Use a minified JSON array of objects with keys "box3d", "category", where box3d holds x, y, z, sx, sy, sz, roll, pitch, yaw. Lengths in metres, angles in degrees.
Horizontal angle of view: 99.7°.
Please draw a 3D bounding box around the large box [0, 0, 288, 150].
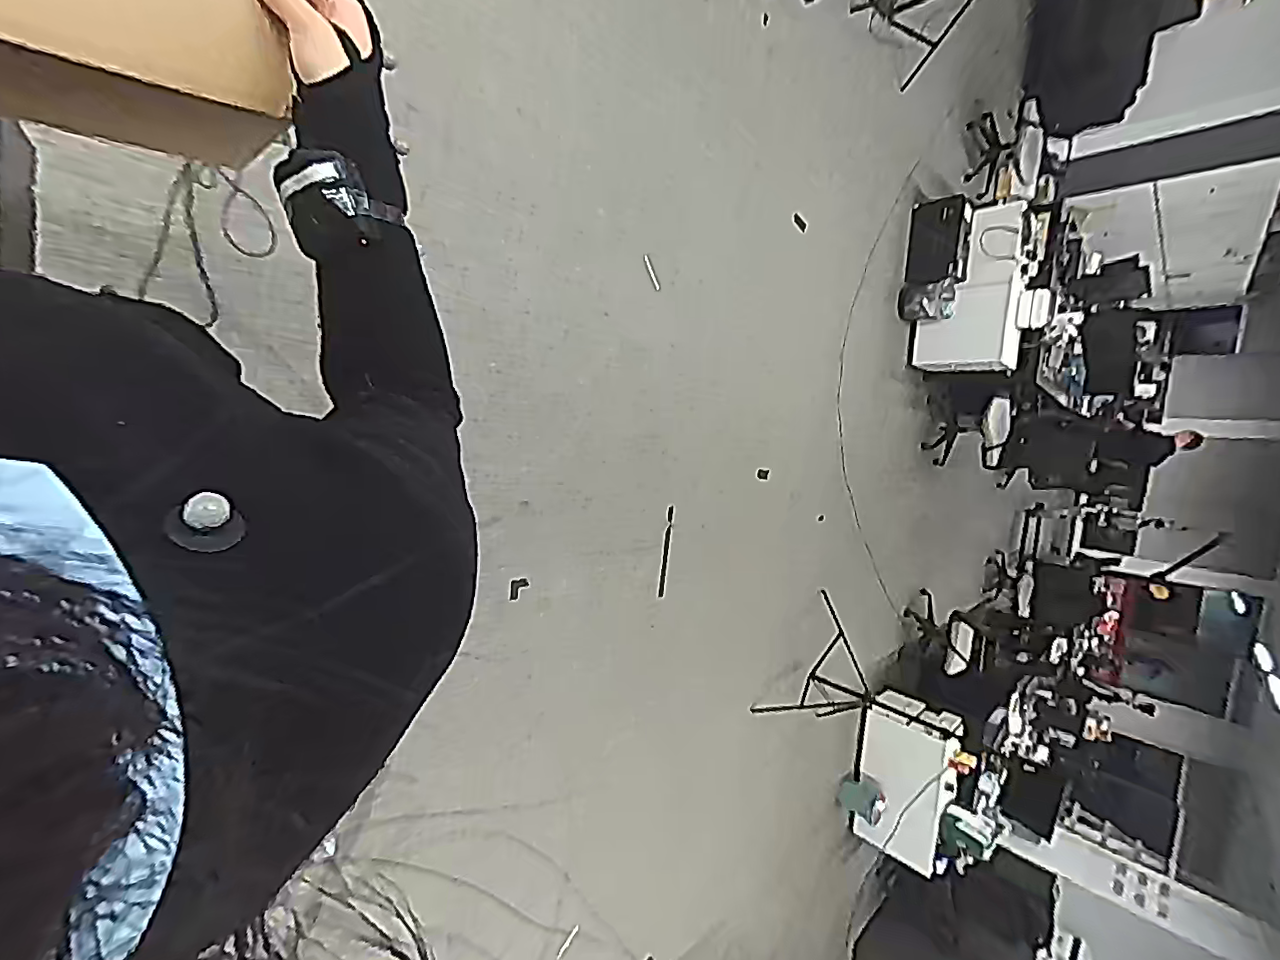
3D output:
[{"box3d":[-0.499,-0.457,0.355,0.408,0.320,0.320,-7,111,-40],"category":"large box"}]
